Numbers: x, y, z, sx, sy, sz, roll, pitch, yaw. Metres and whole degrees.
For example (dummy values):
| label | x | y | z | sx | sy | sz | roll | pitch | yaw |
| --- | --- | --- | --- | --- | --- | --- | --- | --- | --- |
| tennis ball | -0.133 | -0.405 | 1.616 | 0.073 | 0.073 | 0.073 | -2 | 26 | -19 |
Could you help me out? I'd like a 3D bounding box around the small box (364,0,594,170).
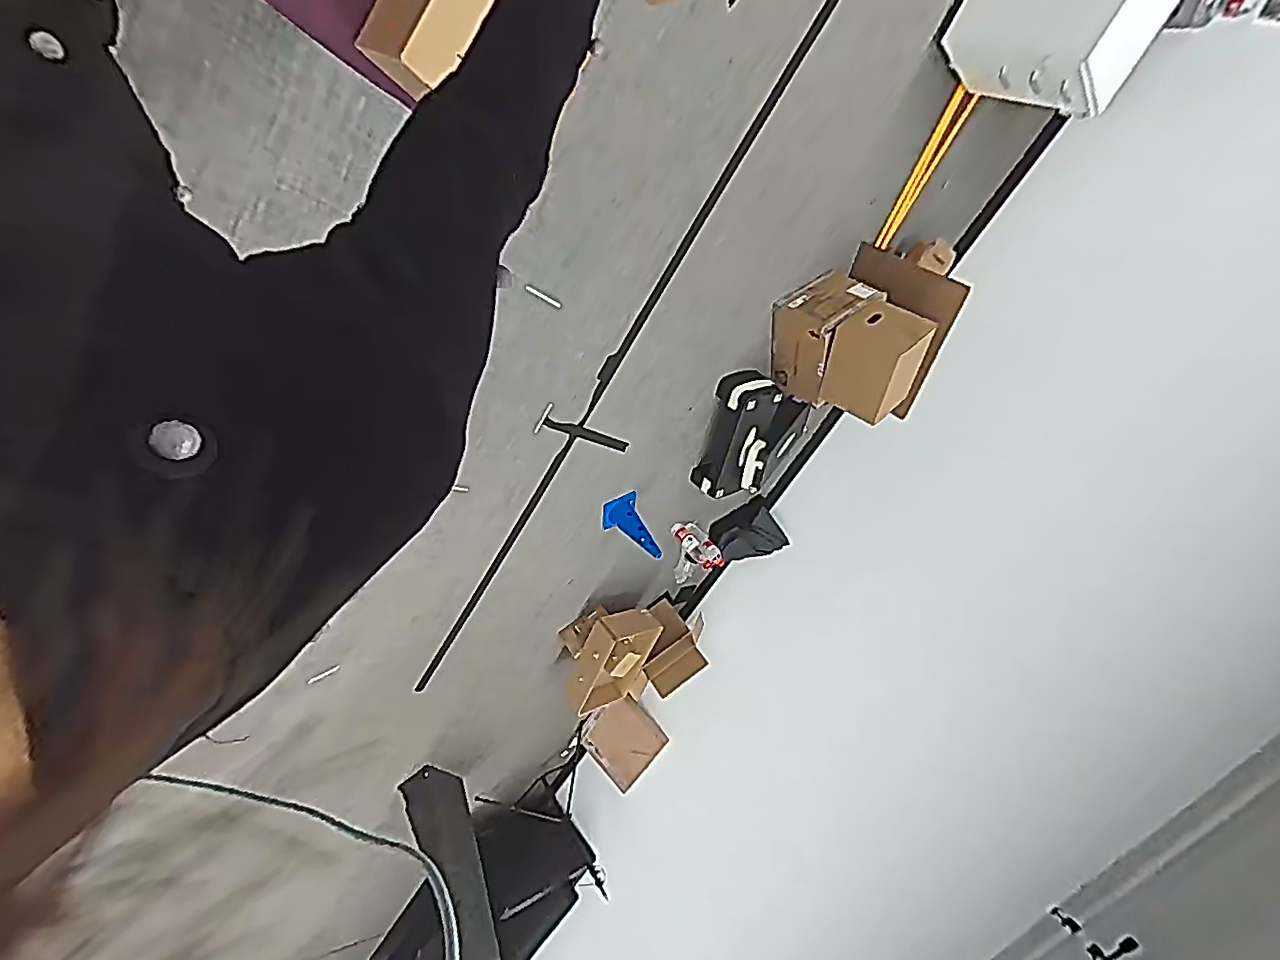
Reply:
| label | x | y | z | sx | sy | sz | roll | pitch | yaw |
| --- | --- | --- | --- | --- | --- | --- | --- | --- | --- |
| small box | -0.194 | -0.516 | 0.639 | 0.179 | 0.176 | 0.168 | -53 | 143 | 10 |
